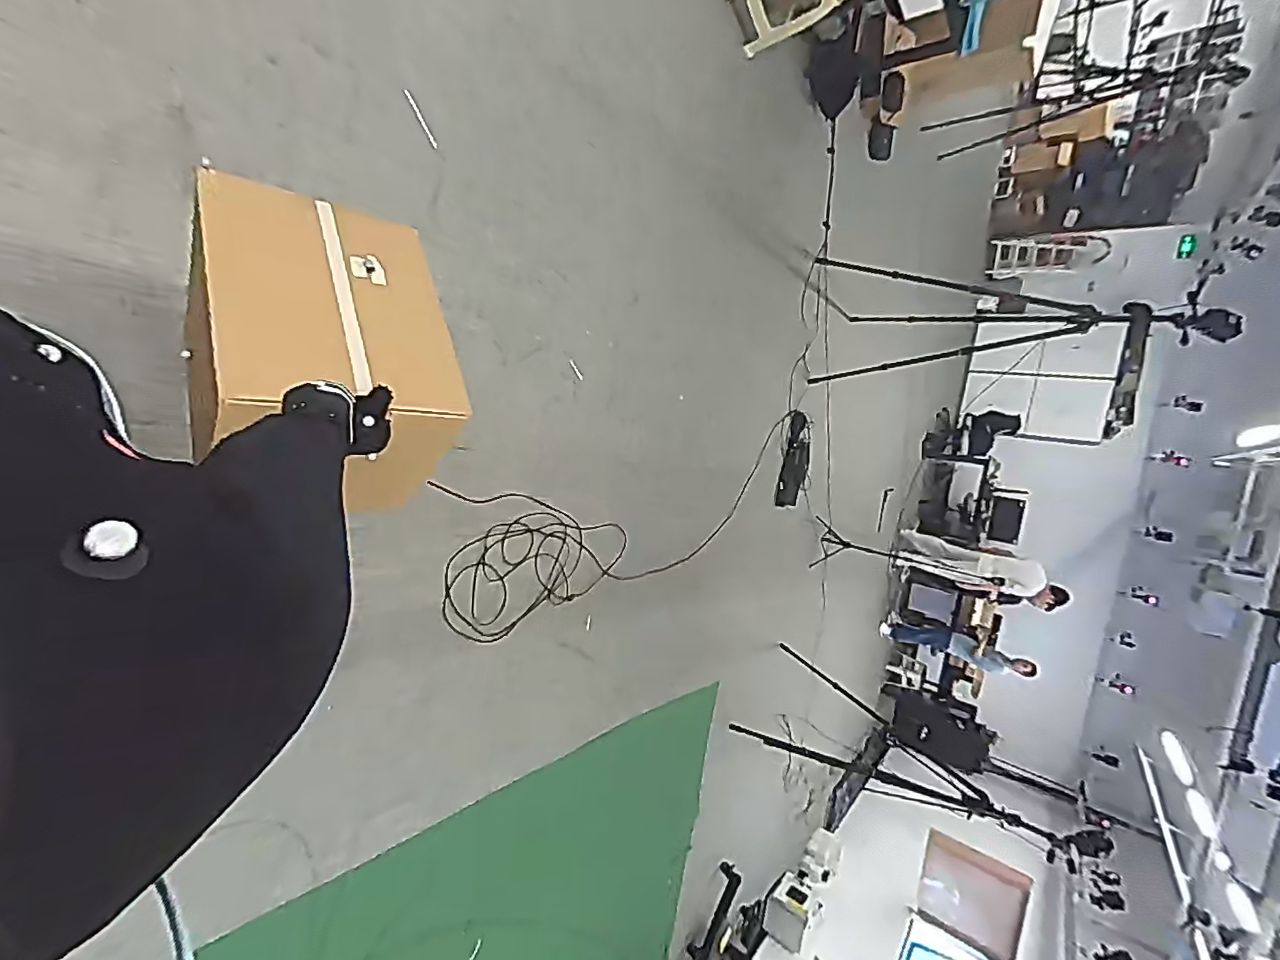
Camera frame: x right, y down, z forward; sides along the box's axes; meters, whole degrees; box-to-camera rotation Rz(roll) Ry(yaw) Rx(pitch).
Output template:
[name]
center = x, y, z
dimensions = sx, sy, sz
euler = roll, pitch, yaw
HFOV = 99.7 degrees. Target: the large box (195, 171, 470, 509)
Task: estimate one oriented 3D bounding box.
[large box]
center = -0.529, -0.202, 0.902
dimensions = 0.320, 0.320, 0.408
euler = -1, 60, -43
